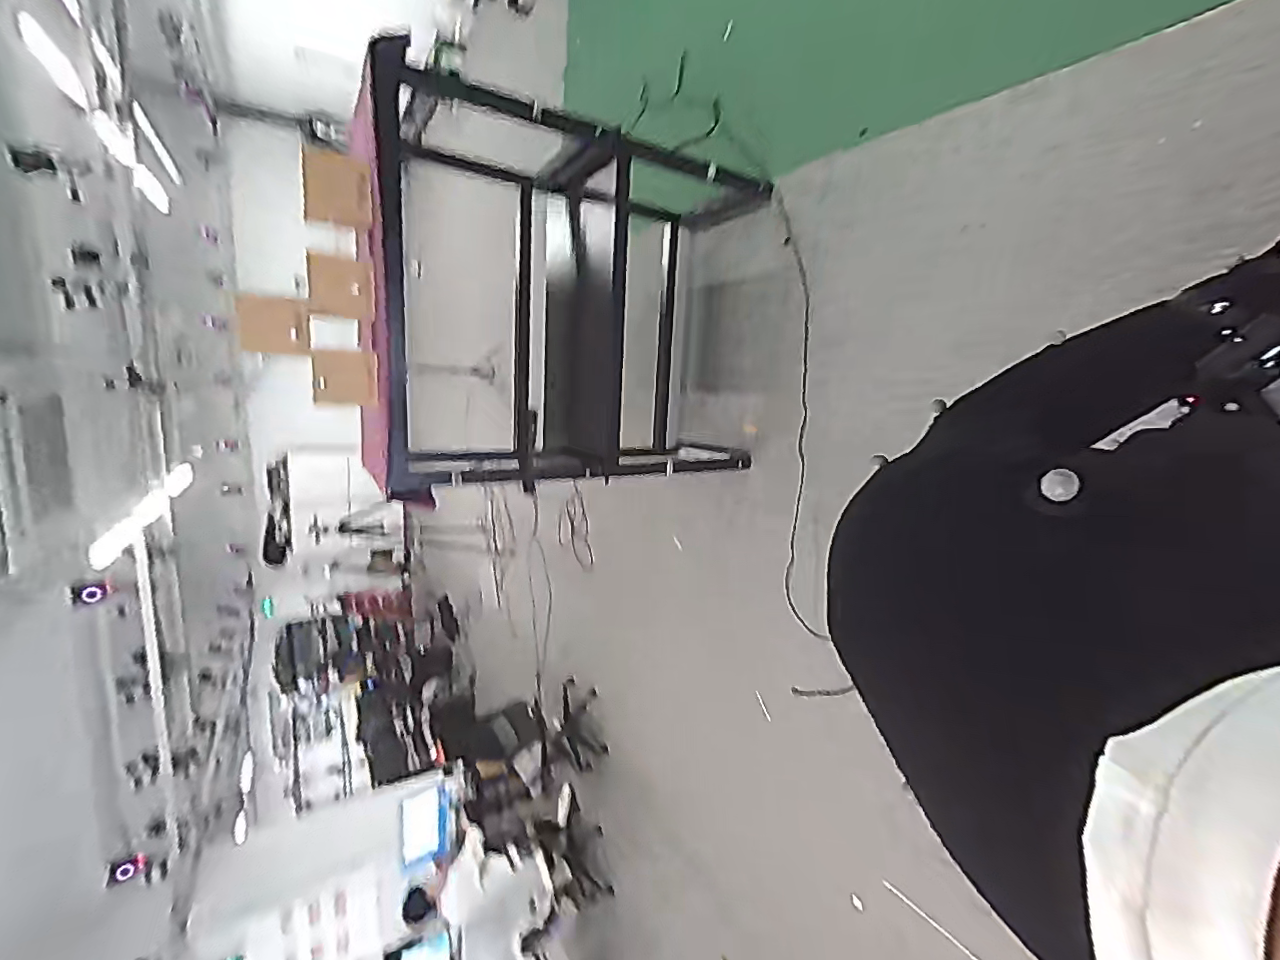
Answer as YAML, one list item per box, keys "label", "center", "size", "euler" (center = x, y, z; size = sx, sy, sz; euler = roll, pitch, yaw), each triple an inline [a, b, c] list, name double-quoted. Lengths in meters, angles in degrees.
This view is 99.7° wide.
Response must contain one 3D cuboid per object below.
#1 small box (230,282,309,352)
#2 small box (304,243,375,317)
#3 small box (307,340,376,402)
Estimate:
- label: "small box"
  center: [-1.015, -0.444, 1.494]
  size: [0.179, 0.176, 0.168]
  euler: [22, 111, 56]
- label: "small box"
  center: [-0.866, -0.568, 1.557]
  size: [0.179, 0.176, 0.168]
  euler: [19, 108, 56]
- label: "small box"
  center: [-0.881, -0.319, 1.596]
  size: [0.179, 0.176, 0.168]
  euler: [18, 107, 58]
